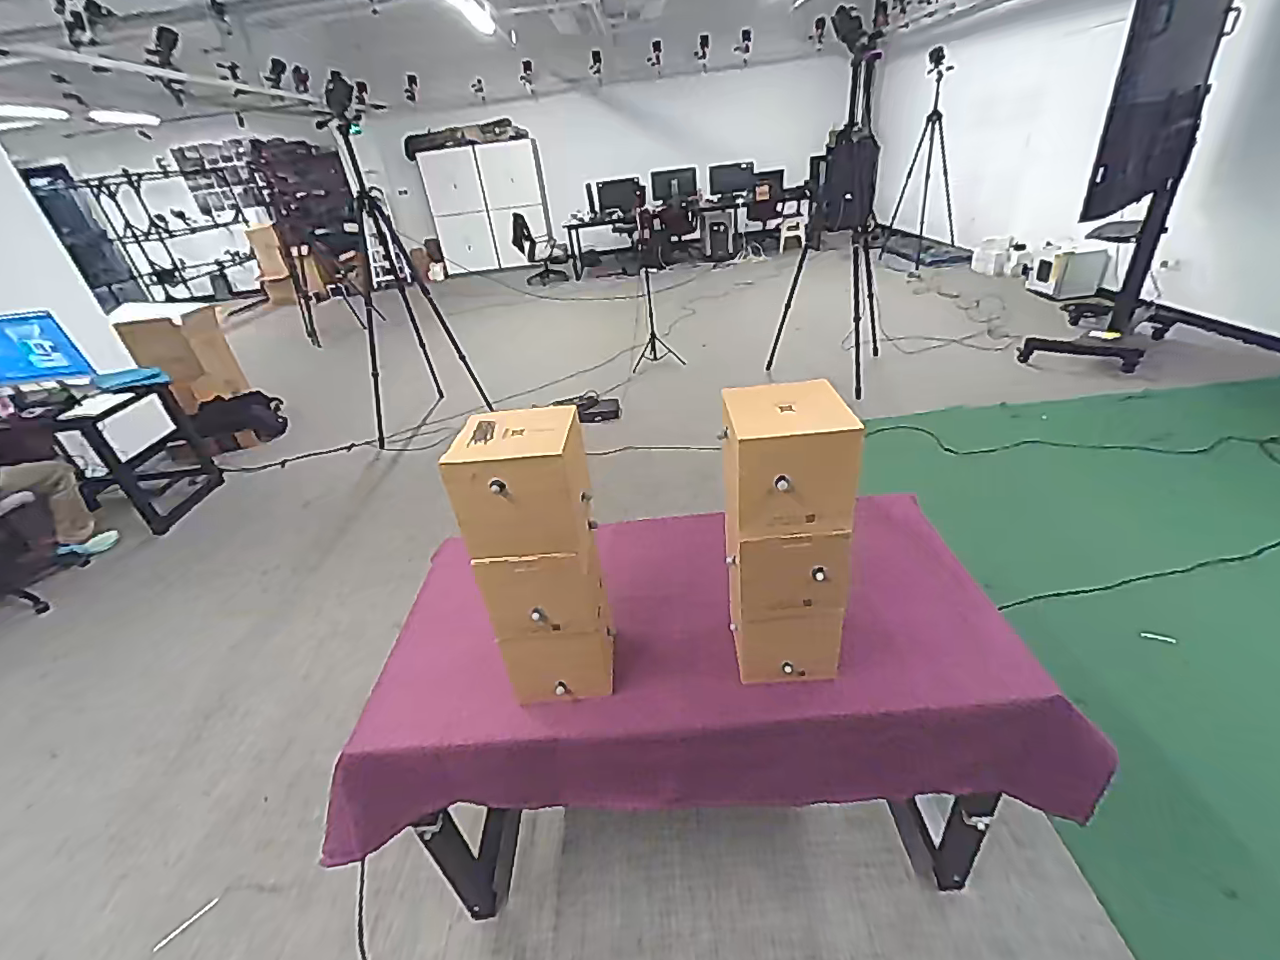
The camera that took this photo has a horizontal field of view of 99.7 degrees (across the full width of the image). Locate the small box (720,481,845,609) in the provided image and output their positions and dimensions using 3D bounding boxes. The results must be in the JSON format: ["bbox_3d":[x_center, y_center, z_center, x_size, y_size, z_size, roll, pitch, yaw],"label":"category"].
[{"bbox_3d":[0.229,0.100,0.901,0.168,0.176,0.179,-5,32,3],"label":"small box"}]

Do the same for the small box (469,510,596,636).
[{"bbox_3d":[-0.170,0.139,0.921,0.168,0.176,0.179,-6,32,3],"label":"small box"}]

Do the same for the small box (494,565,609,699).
[{"bbox_3d":[-0.152,0.281,1.003,0.179,0.176,0.168,-6,31,1],"label":"small box"}]

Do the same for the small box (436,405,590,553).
[{"bbox_3d":[-0.183,-0.001,0.835,0.179,0.176,0.168,-4,32,4],"label":"small box"}]

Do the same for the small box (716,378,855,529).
[{"bbox_3d":[0.210,-0.037,0.816,0.168,0.176,0.179,-5,32,3],"label":"small box"}]
